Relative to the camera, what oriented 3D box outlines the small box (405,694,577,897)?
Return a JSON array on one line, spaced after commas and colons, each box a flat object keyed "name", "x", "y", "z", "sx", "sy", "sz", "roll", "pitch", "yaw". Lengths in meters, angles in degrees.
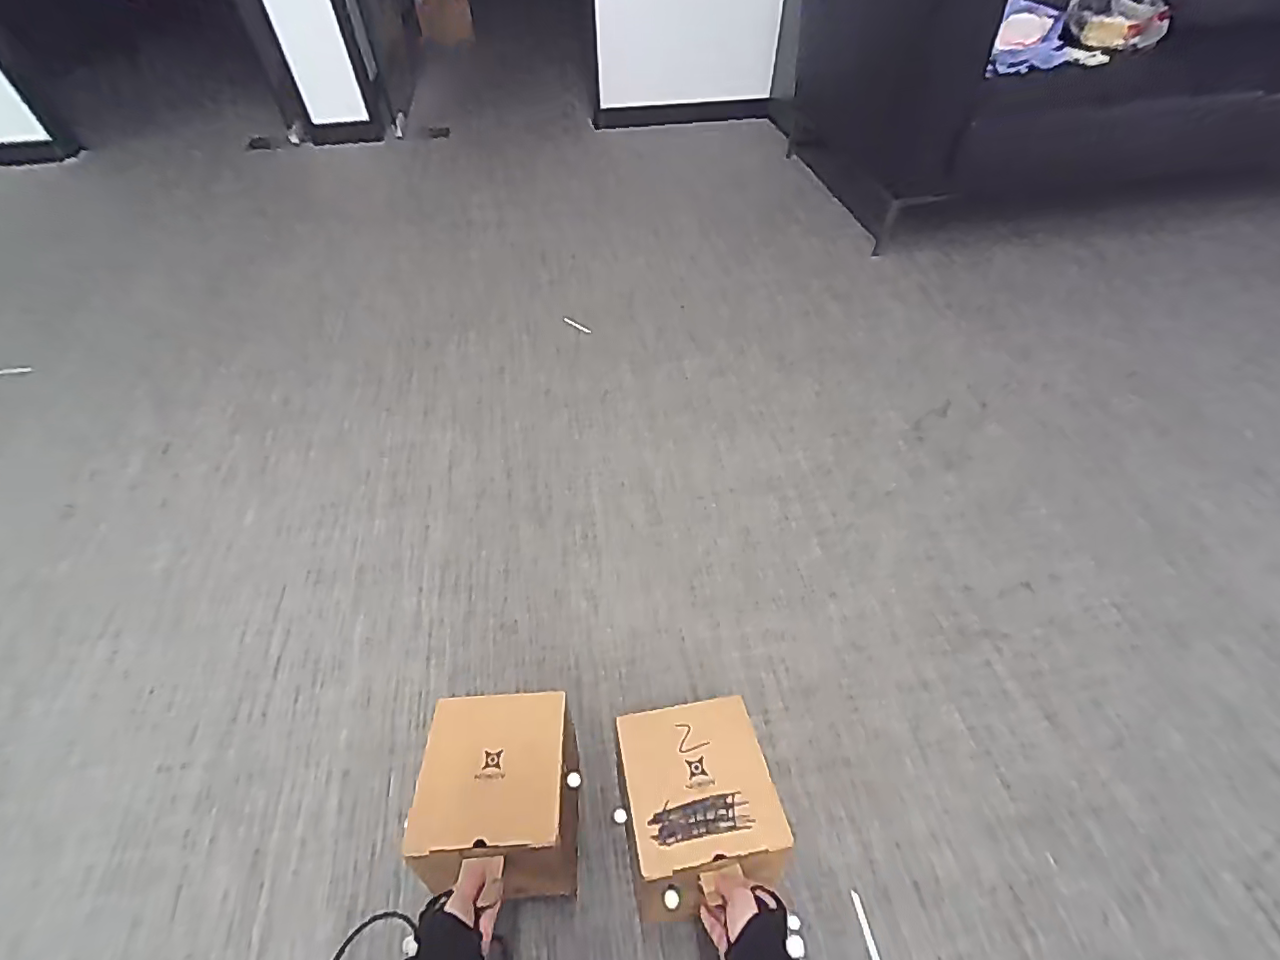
[{"name": "small box", "x": -0.172, "y": 0.398, "z": 0.688, "sx": 0.168, "sy": 0.176, "sz": 0.179, "roll": -3, "pitch": 41, "yaw": -2}]
